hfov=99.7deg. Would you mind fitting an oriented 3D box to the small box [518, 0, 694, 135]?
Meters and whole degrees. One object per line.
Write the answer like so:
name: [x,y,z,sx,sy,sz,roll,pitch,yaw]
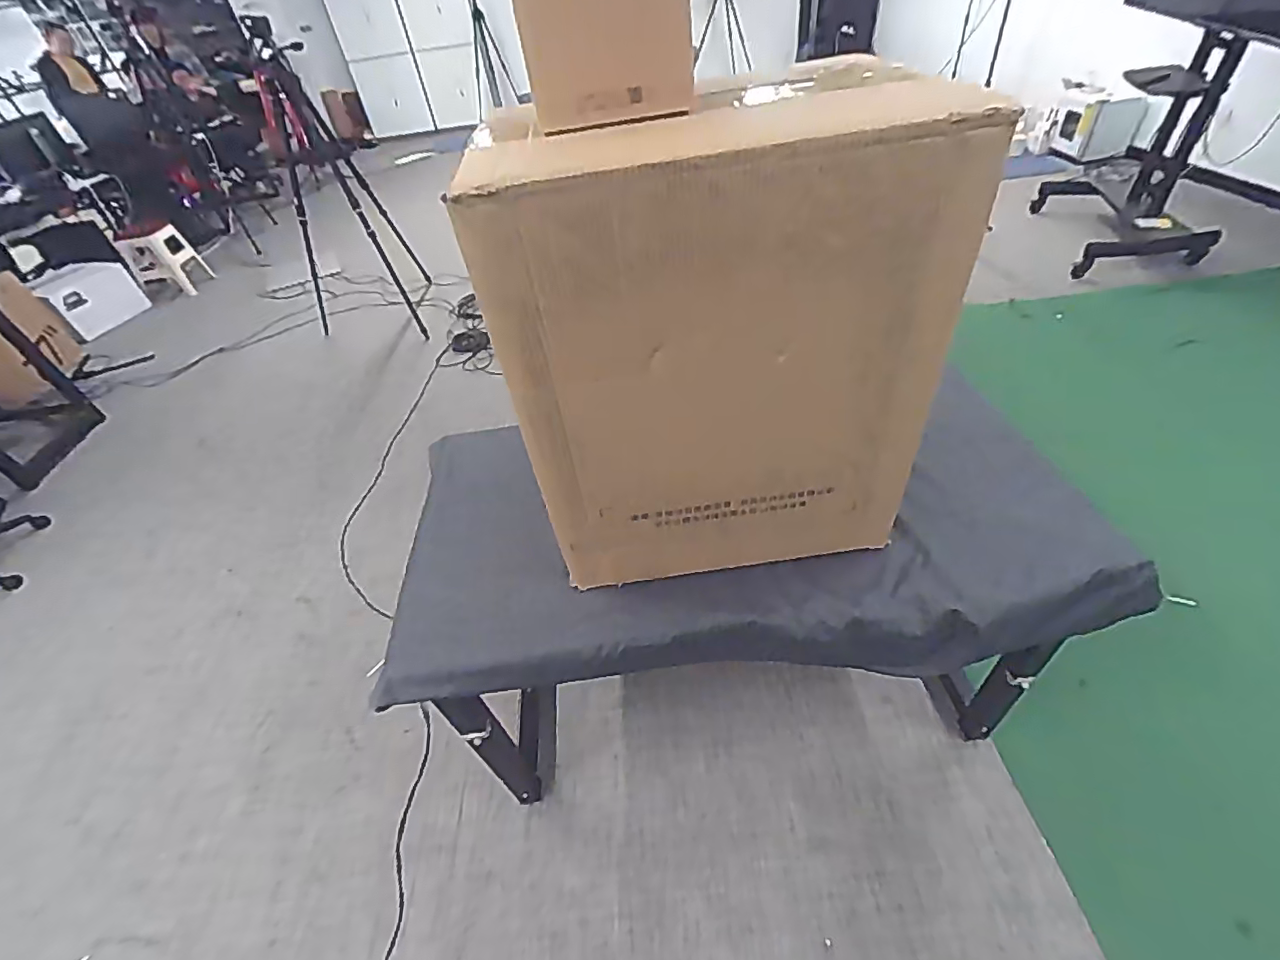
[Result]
small box: [-0.036,-0.488,0.583,0.168,0.176,0.179,-8,42,3]
